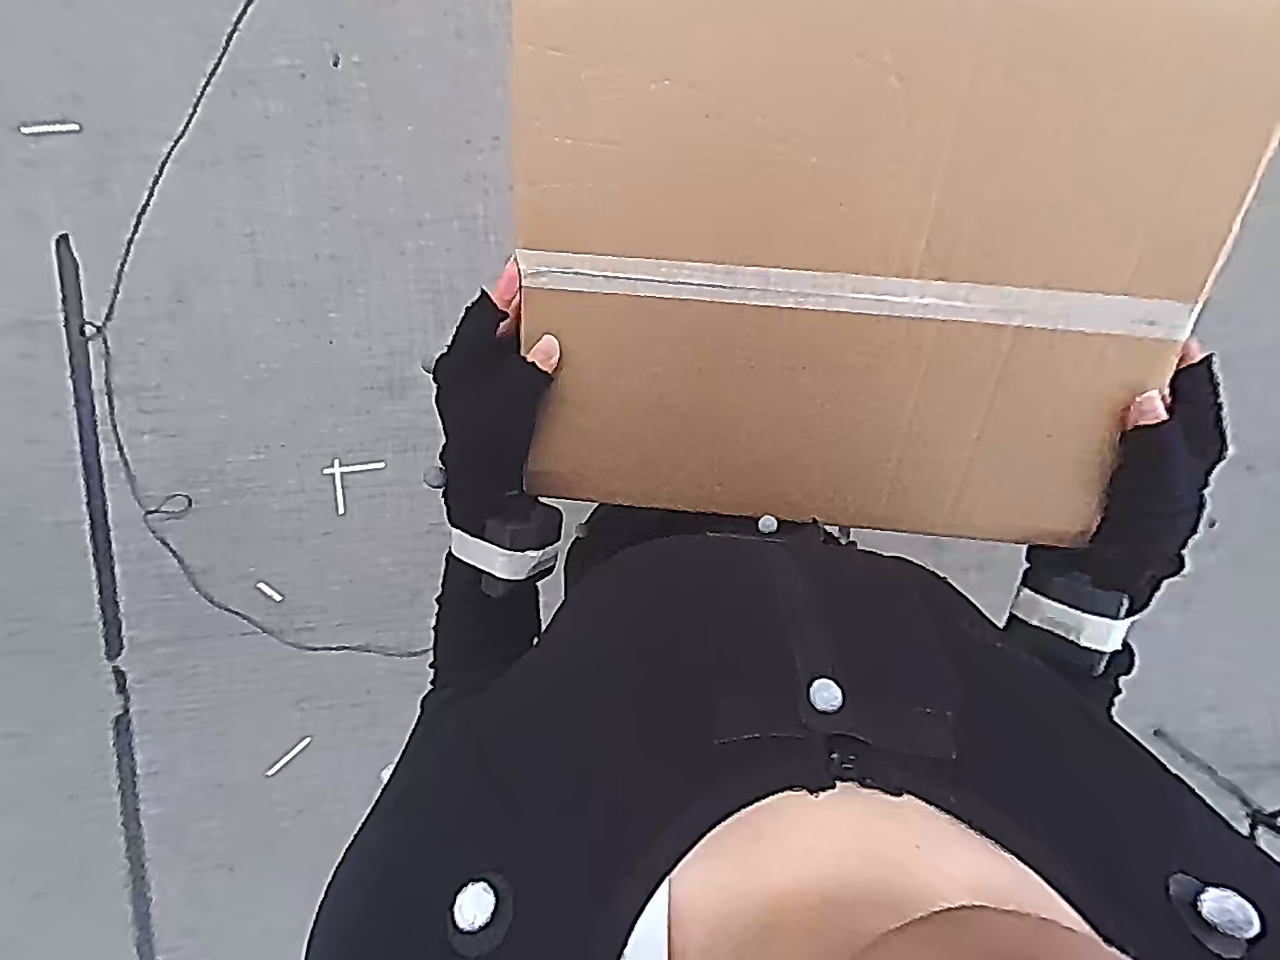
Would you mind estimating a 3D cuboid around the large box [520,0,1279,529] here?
[{"bbox_3d":[0.130,-0.178,0.473,0.408,0.320,0.320,6,115,1],"label":"large box"}]
